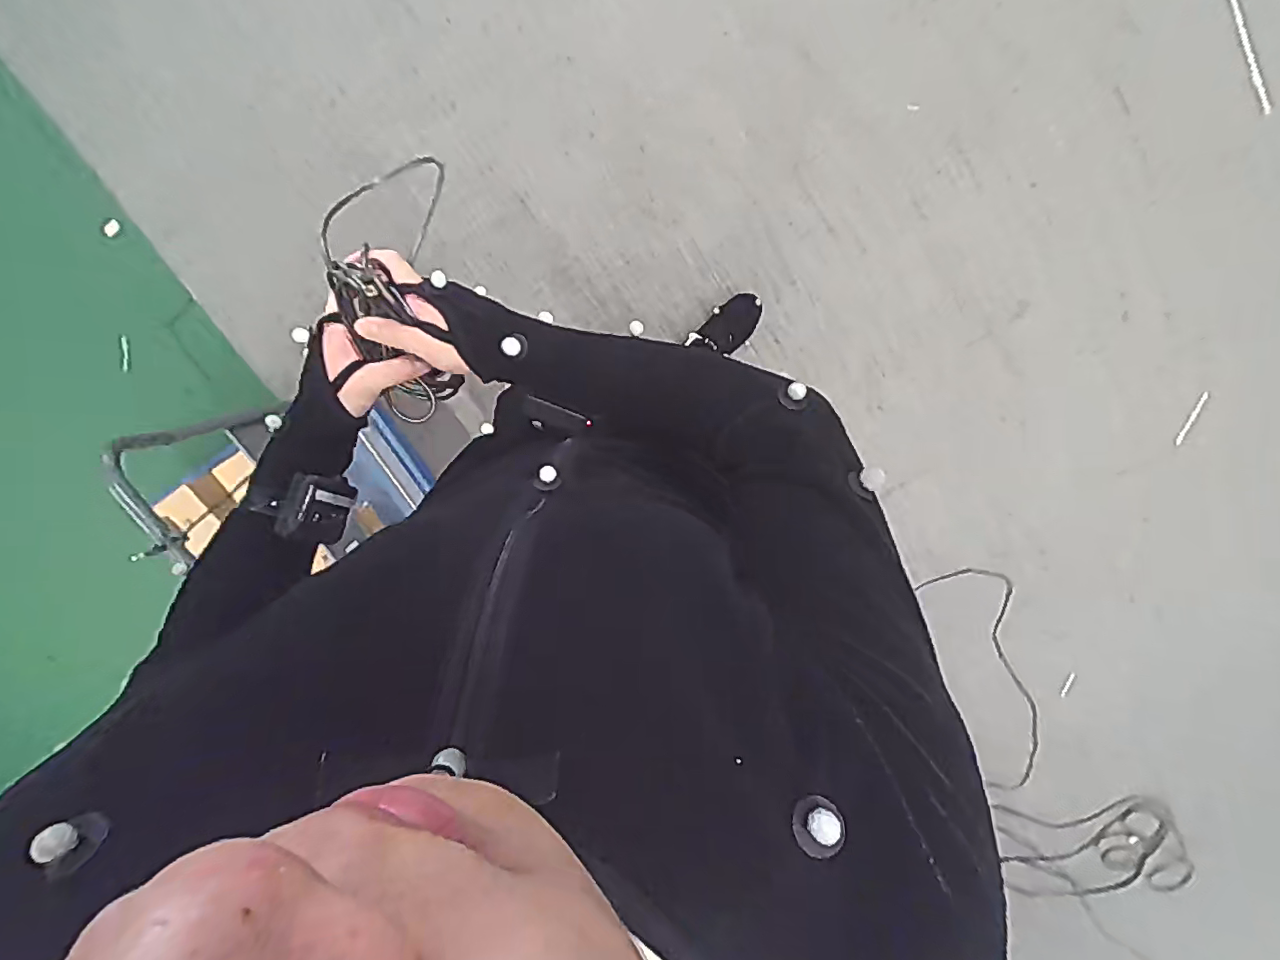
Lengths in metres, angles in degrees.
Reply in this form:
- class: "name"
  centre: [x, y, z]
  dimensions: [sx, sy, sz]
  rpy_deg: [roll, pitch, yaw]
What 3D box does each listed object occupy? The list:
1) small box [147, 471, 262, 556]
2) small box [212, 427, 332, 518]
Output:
- class: "small box"
  centre: [-1.233, 0.084, 1.554]
  dimensions: [0.179, 0.176, 0.168]
  rpy_deg: [-29, 105, 15]
- class: "small box"
  centre: [-1.001, -0.025, 1.487]
  dimensions: [0.179, 0.176, 0.168]
  rpy_deg: [-26, 105, 15]
